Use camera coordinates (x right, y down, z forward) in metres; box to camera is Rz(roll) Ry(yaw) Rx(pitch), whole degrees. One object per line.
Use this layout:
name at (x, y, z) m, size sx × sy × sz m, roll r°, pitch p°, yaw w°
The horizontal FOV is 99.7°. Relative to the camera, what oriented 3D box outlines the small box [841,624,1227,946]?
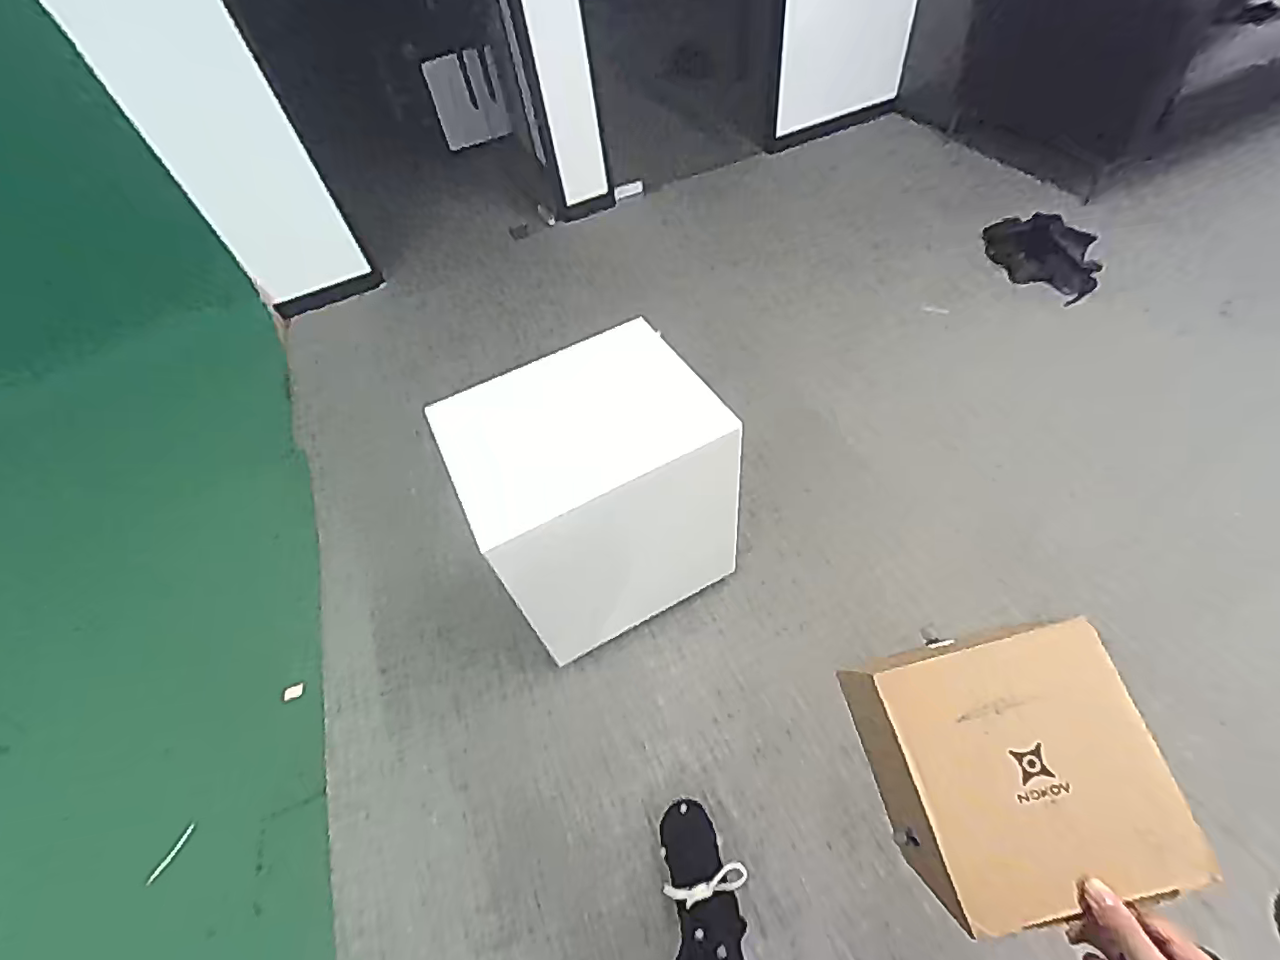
small box at (0.290, 0.231, 0.452) m, size 0.168 × 0.176 × 0.179 m, roll -17°, pitch 69°, yaw 3°
